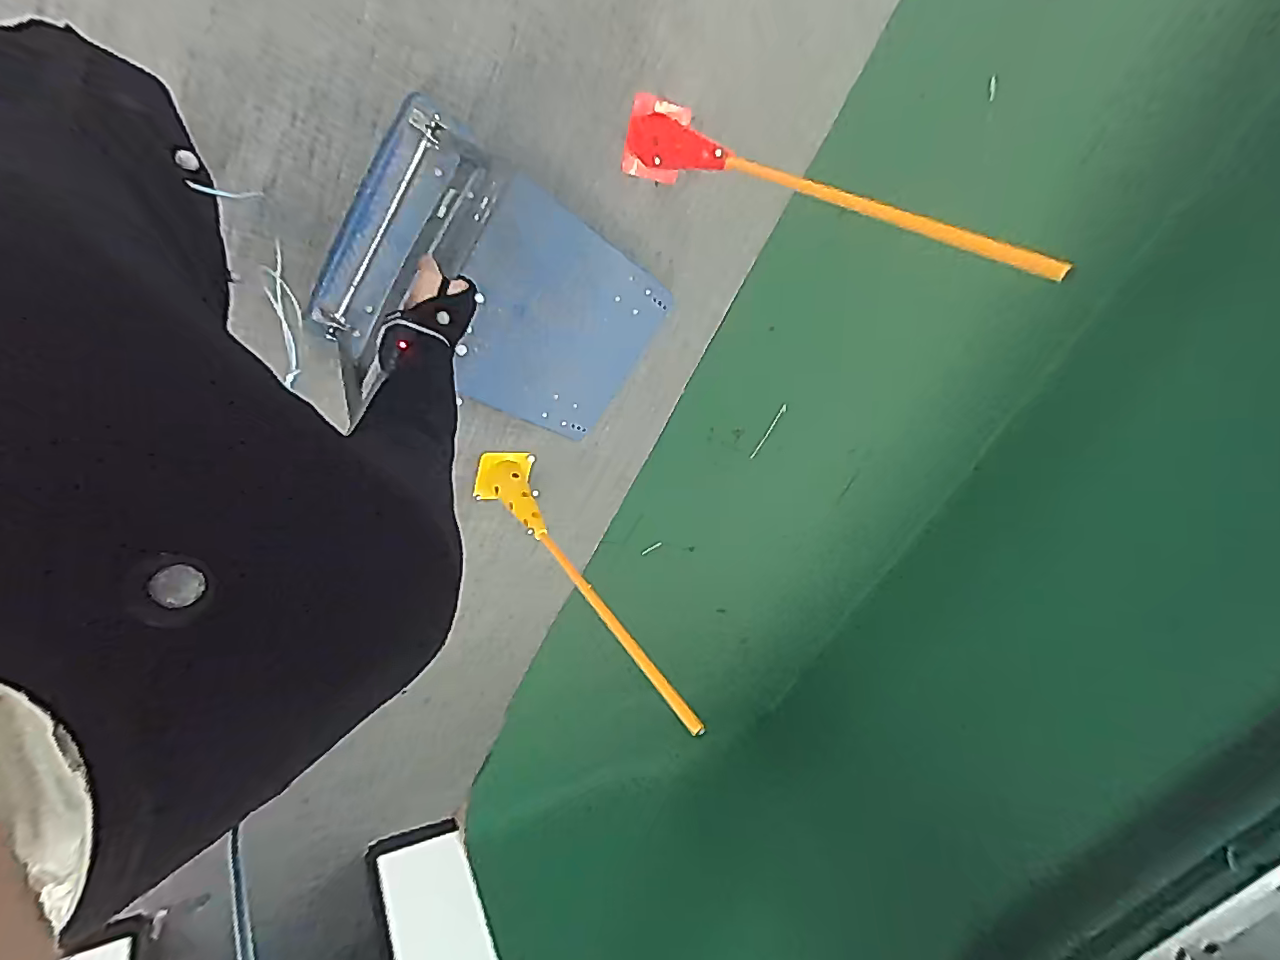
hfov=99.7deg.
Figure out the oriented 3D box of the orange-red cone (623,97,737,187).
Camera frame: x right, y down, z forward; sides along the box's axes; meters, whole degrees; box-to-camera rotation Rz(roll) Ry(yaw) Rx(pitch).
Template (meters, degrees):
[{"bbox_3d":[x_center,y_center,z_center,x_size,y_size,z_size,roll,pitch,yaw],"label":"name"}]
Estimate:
[{"bbox_3d":[0.135,-0.886,1.463,0.198,0.360,0.199,-6,126,-35],"label":"orange-red cone"}]
